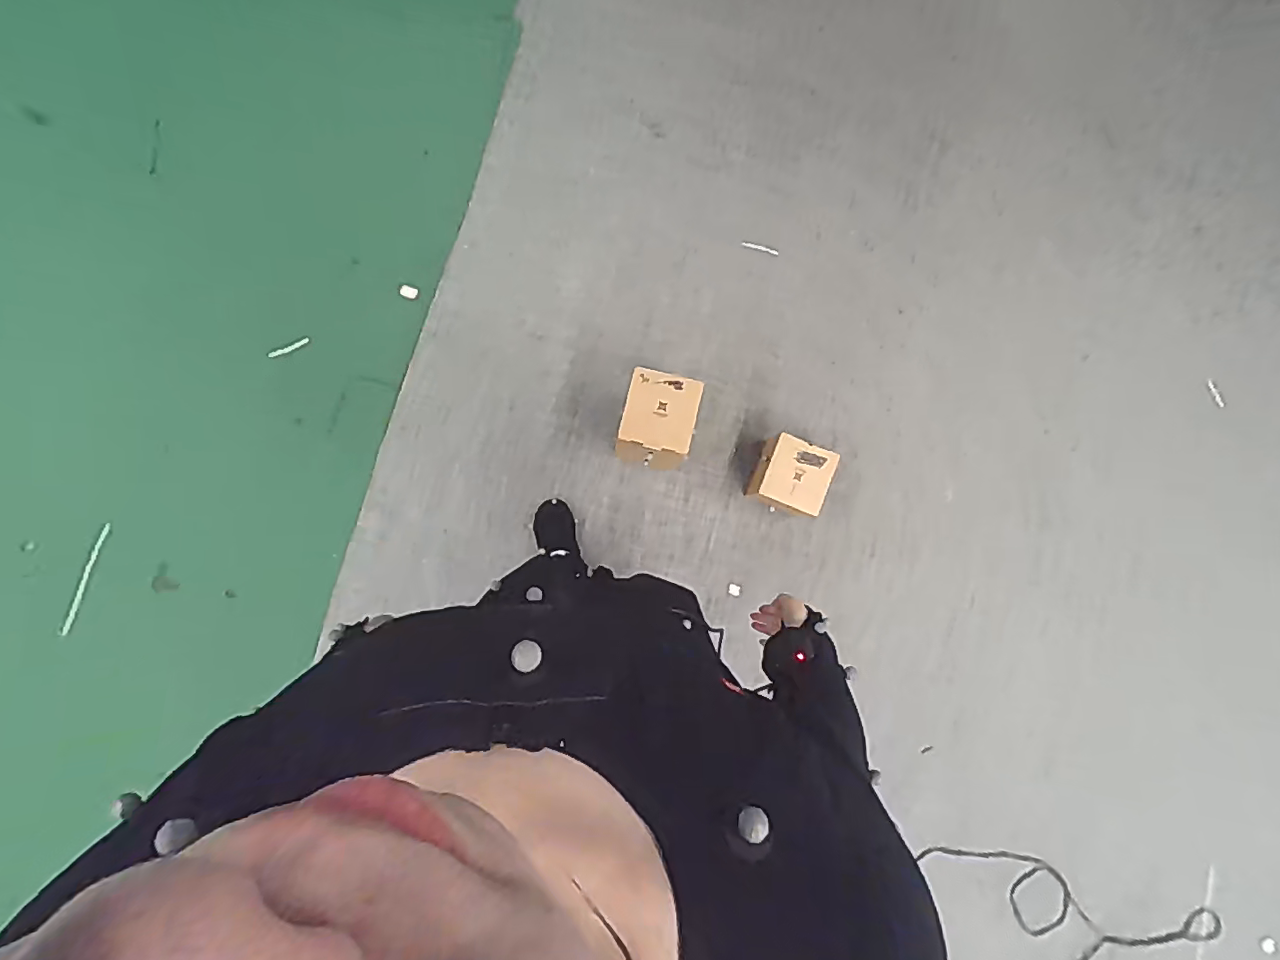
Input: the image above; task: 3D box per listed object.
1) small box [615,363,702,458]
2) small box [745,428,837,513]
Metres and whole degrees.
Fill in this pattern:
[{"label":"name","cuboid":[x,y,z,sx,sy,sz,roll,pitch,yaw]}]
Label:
[{"label":"small box","cuboid":[0.042,-0.159,1.301,0.168,0.176,0.179,14,85,0]},{"label":"small box","cuboid":[0.400,-0.021,1.467,0.168,0.176,0.179,22,86,0]}]
